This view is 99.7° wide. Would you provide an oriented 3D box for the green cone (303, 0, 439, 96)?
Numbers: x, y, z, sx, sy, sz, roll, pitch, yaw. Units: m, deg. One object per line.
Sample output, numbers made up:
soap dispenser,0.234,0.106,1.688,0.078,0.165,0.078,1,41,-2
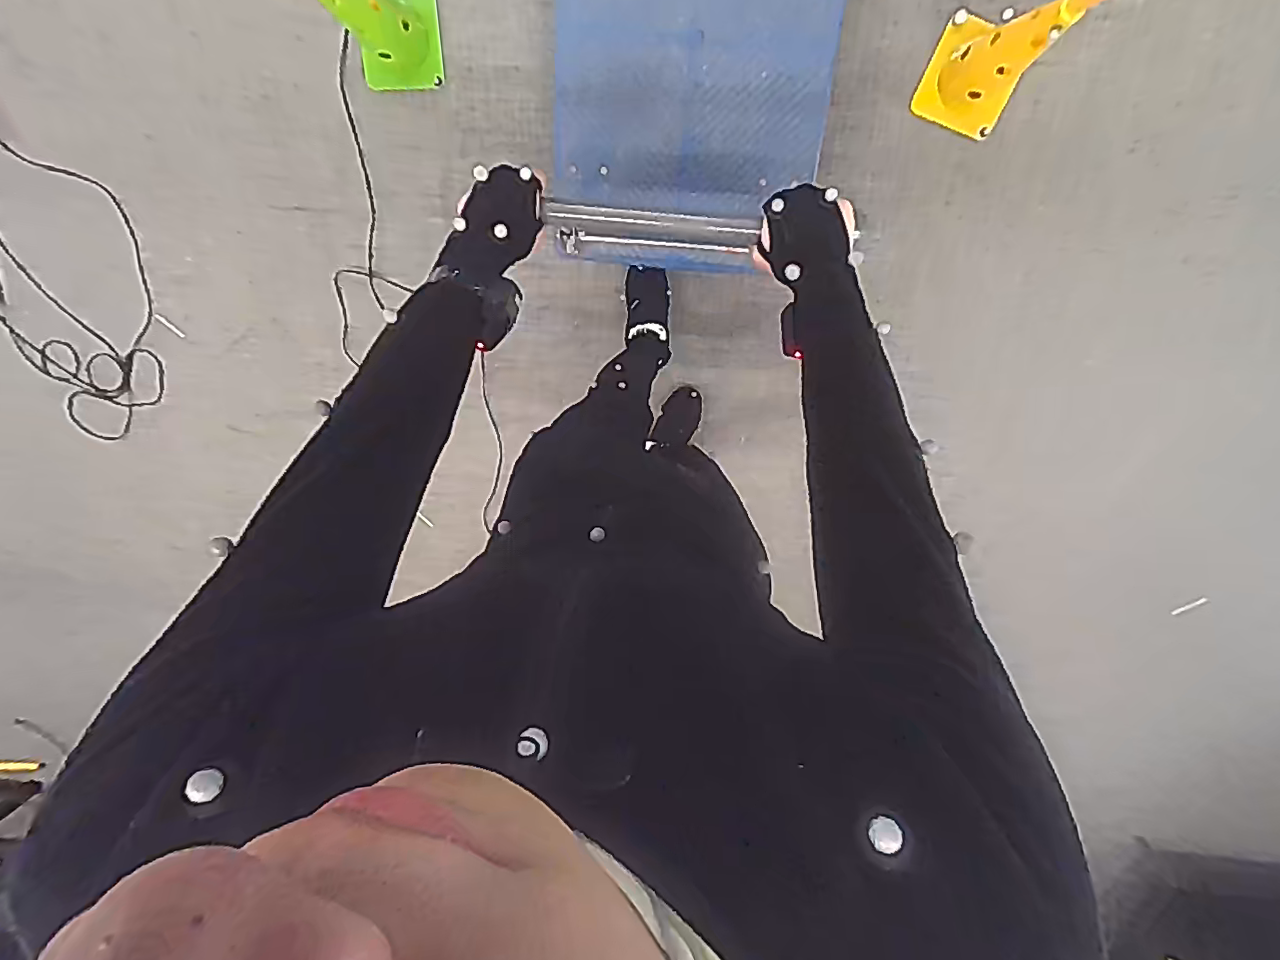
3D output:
green cone,-0.601,-0.974,1.124,0.202,0.368,0.200,2,111,6
